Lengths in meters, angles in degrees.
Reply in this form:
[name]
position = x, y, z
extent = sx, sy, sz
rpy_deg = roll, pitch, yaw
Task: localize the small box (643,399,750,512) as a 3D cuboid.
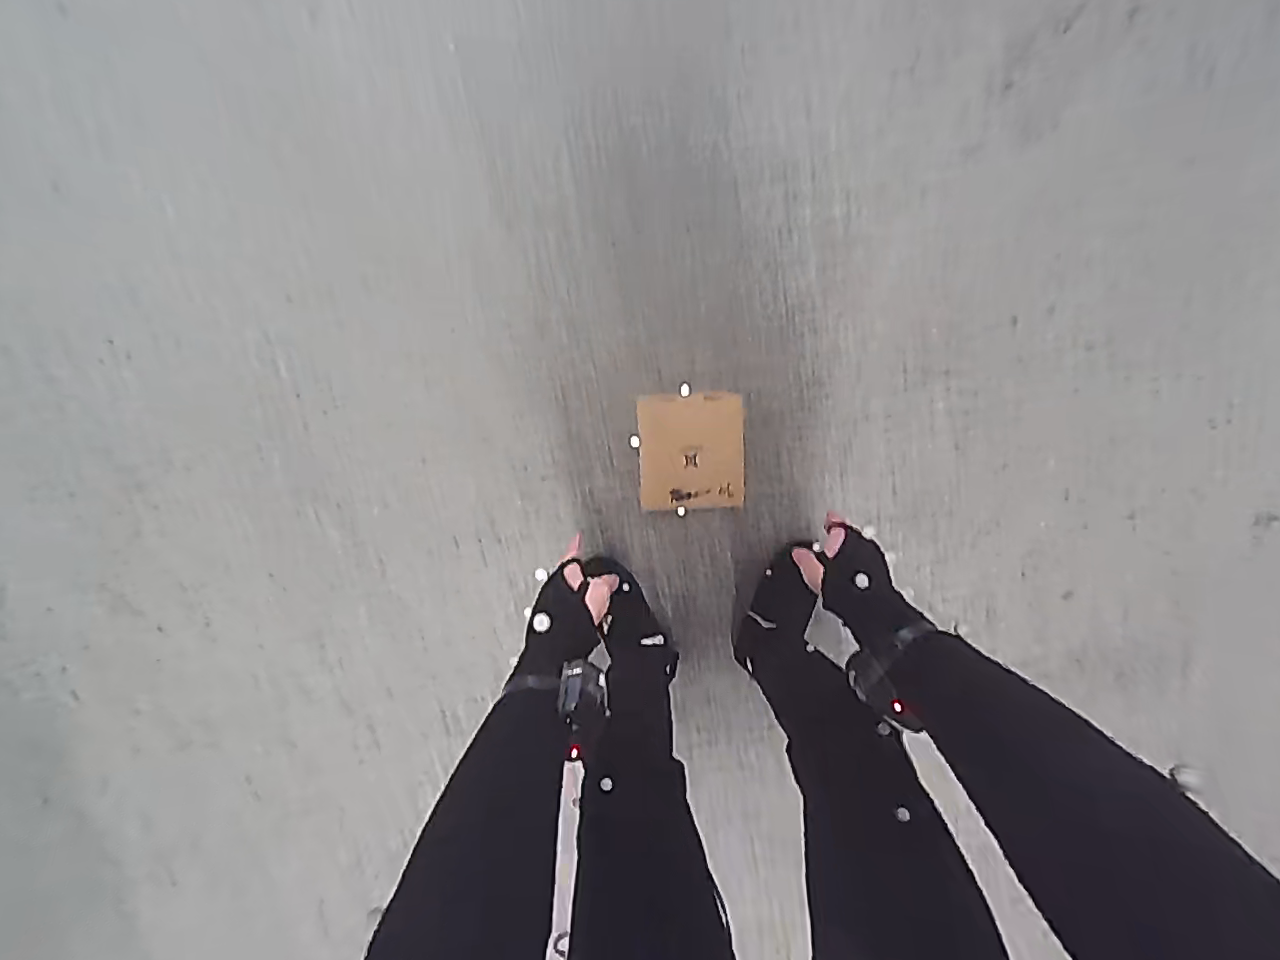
[small box]
position = 0.091, -0.049, 0.936
extent = 0.168, 0.176, 0.179
rpy_deg = -3, 100, 0
